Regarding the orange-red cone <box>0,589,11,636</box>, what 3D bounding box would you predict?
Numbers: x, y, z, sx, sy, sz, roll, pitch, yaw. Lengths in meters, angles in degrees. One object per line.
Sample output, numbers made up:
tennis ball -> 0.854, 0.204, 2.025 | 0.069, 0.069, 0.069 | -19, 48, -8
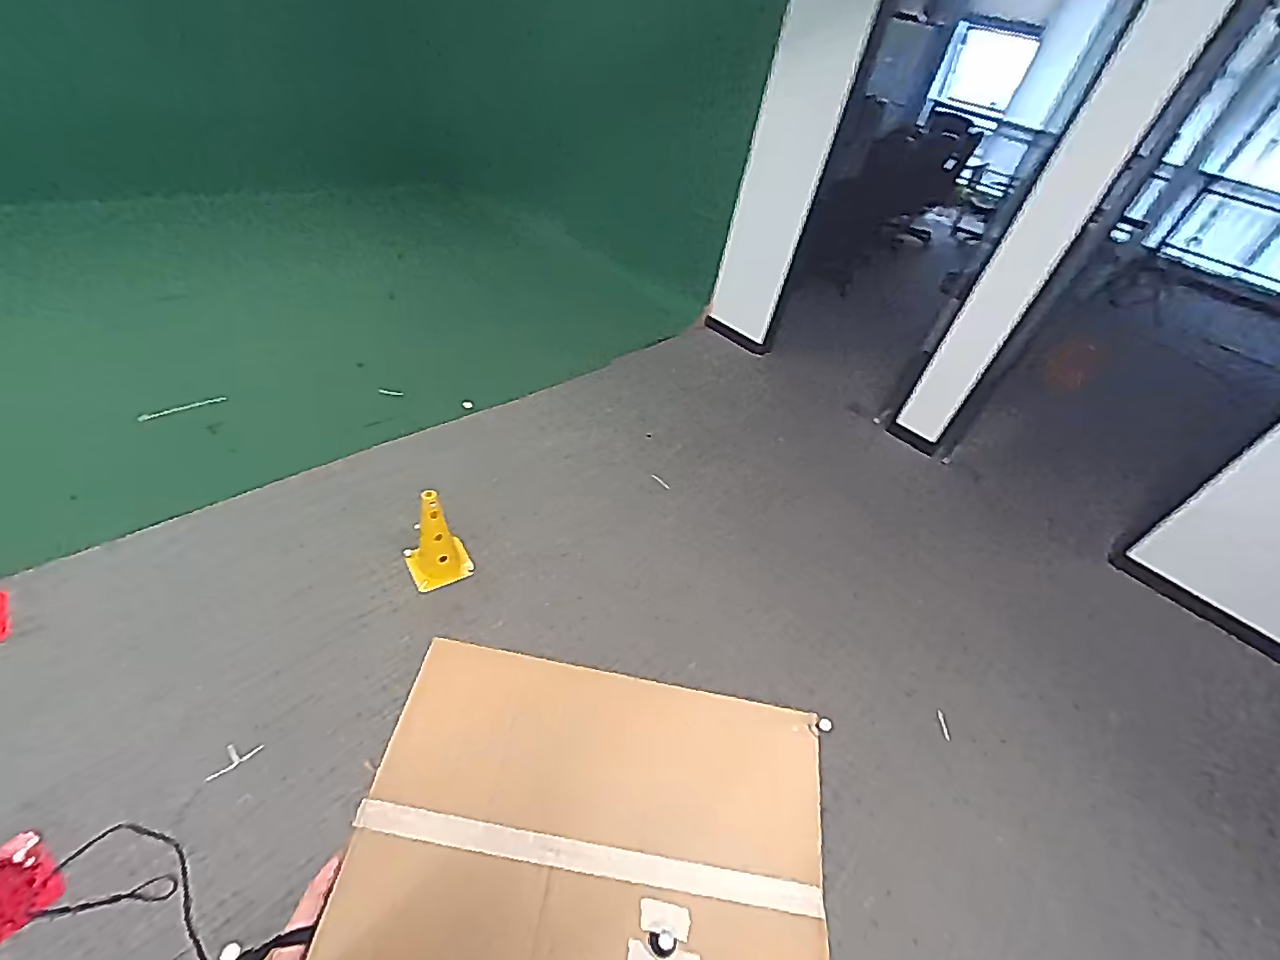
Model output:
orange-red cone -> -1.924, 0.293, 1.433 | 0.199, 0.360, 0.198 | -22, 51, -30

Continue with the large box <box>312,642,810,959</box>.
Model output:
large box -> -0.065, 0.409, 0.599 | 0.408, 0.320, 0.320 | 11, 54, -1
